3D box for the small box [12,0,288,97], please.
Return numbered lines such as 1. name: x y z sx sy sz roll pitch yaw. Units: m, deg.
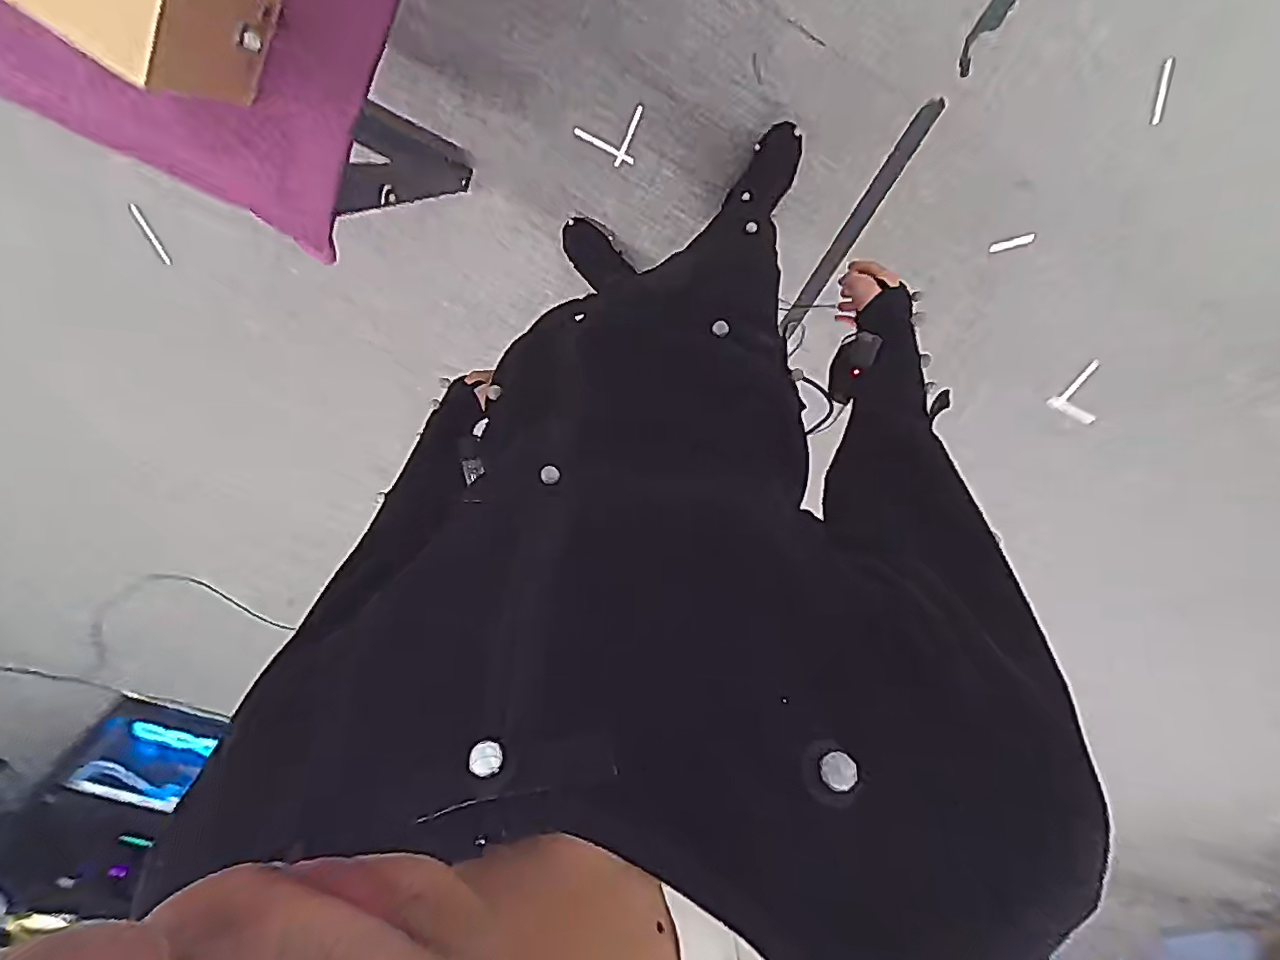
1. small box: -0.487 -0.507 0.522 0.179 0.176 0.168 32 116 -17
